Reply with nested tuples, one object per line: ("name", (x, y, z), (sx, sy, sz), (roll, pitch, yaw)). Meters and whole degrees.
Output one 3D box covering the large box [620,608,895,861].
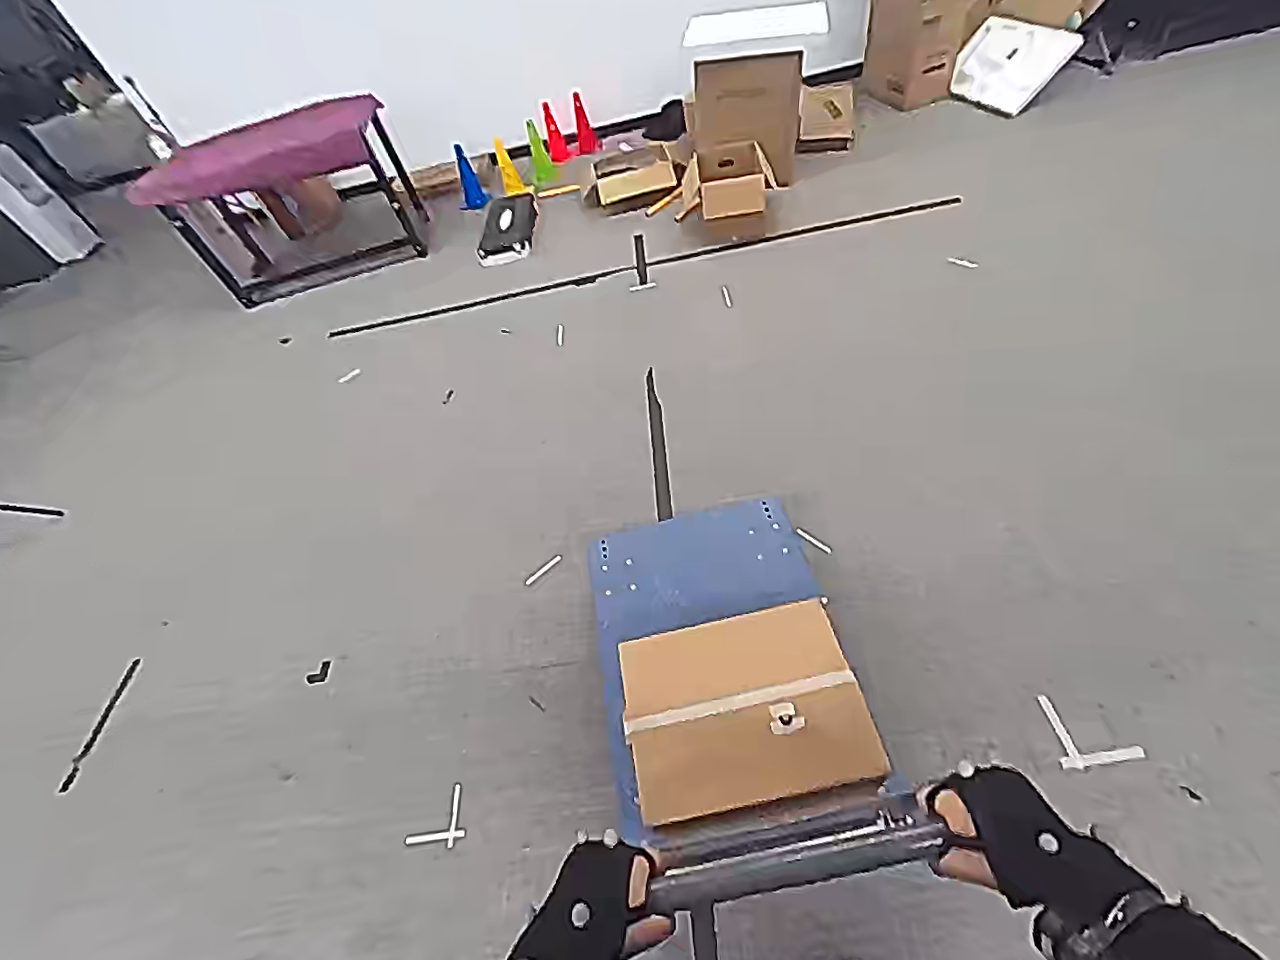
("large box", (0.202, 0.496, 1.041), (0.408, 0.320, 0.320), (-13, 50, 1))
